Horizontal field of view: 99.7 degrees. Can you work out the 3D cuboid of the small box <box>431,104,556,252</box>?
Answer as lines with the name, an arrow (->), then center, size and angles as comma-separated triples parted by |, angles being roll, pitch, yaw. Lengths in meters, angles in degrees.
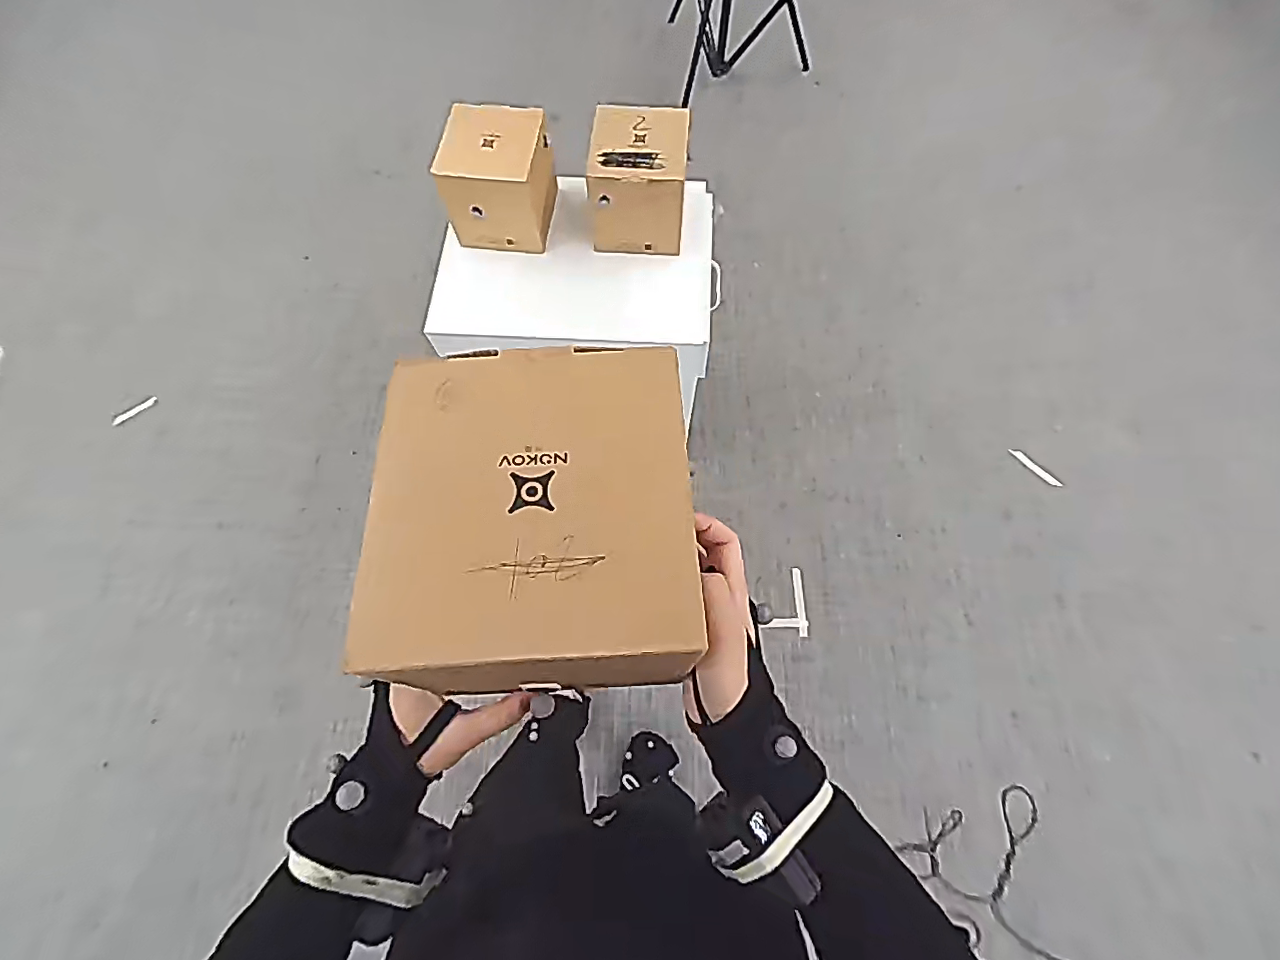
small box -> -0.257, -0.547, 0.994 | 0.168, 0.176, 0.179 | 6, 69, 2

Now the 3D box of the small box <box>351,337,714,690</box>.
small box -> -0.052, 0.032, 0.349 | 0.168, 0.176, 0.179 | -4, 65, -1
